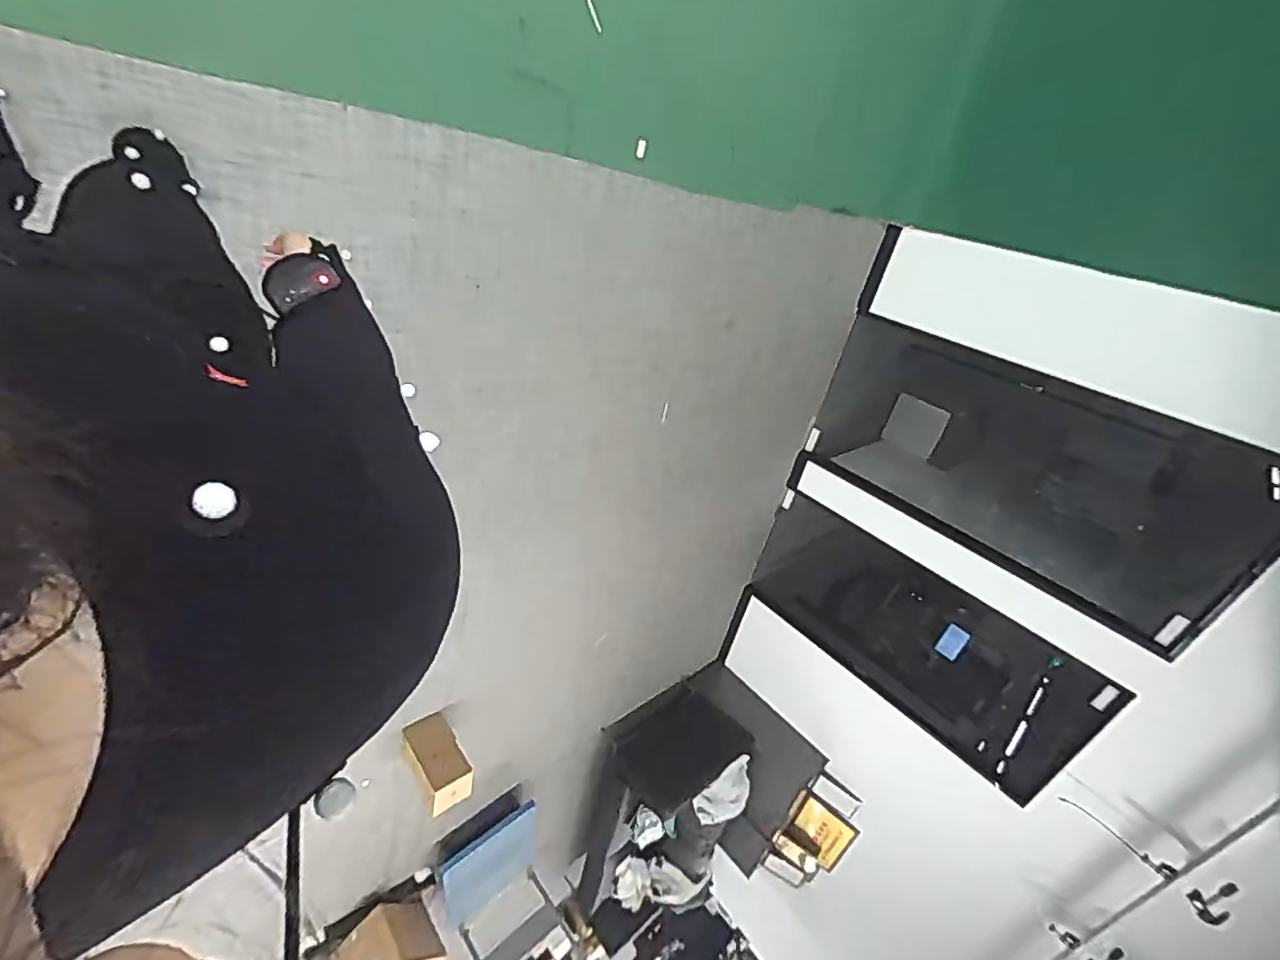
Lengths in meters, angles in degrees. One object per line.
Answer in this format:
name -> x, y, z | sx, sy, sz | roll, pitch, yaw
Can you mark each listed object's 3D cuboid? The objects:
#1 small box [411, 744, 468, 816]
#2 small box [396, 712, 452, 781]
small box -> -0.839, 1.238, 2.252 | 0.168, 0.176, 0.179 | -13, 130, -42
small box -> -0.943, 1.153, 2.349 | 0.179, 0.176, 0.168 | -15, 131, -43
